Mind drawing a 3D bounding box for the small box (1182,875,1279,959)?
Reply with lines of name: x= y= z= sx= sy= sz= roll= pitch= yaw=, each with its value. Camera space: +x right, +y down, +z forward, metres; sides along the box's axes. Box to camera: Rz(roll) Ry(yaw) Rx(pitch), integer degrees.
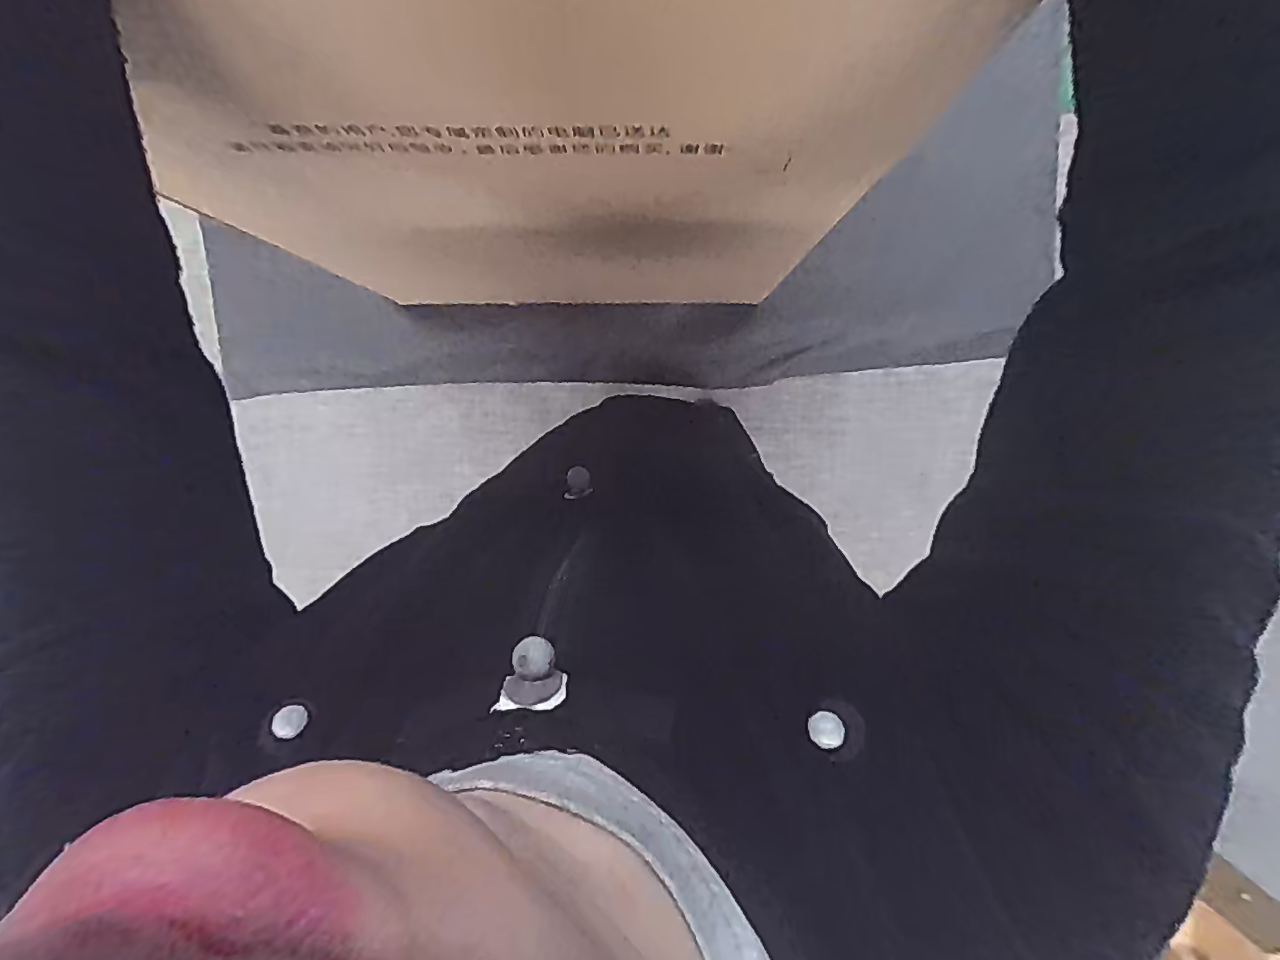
small box: x=1.422 y=1.068 z=1.255 sx=0.168 sy=0.176 sz=0.179 roll=-7 pitch=93 yaw=2
